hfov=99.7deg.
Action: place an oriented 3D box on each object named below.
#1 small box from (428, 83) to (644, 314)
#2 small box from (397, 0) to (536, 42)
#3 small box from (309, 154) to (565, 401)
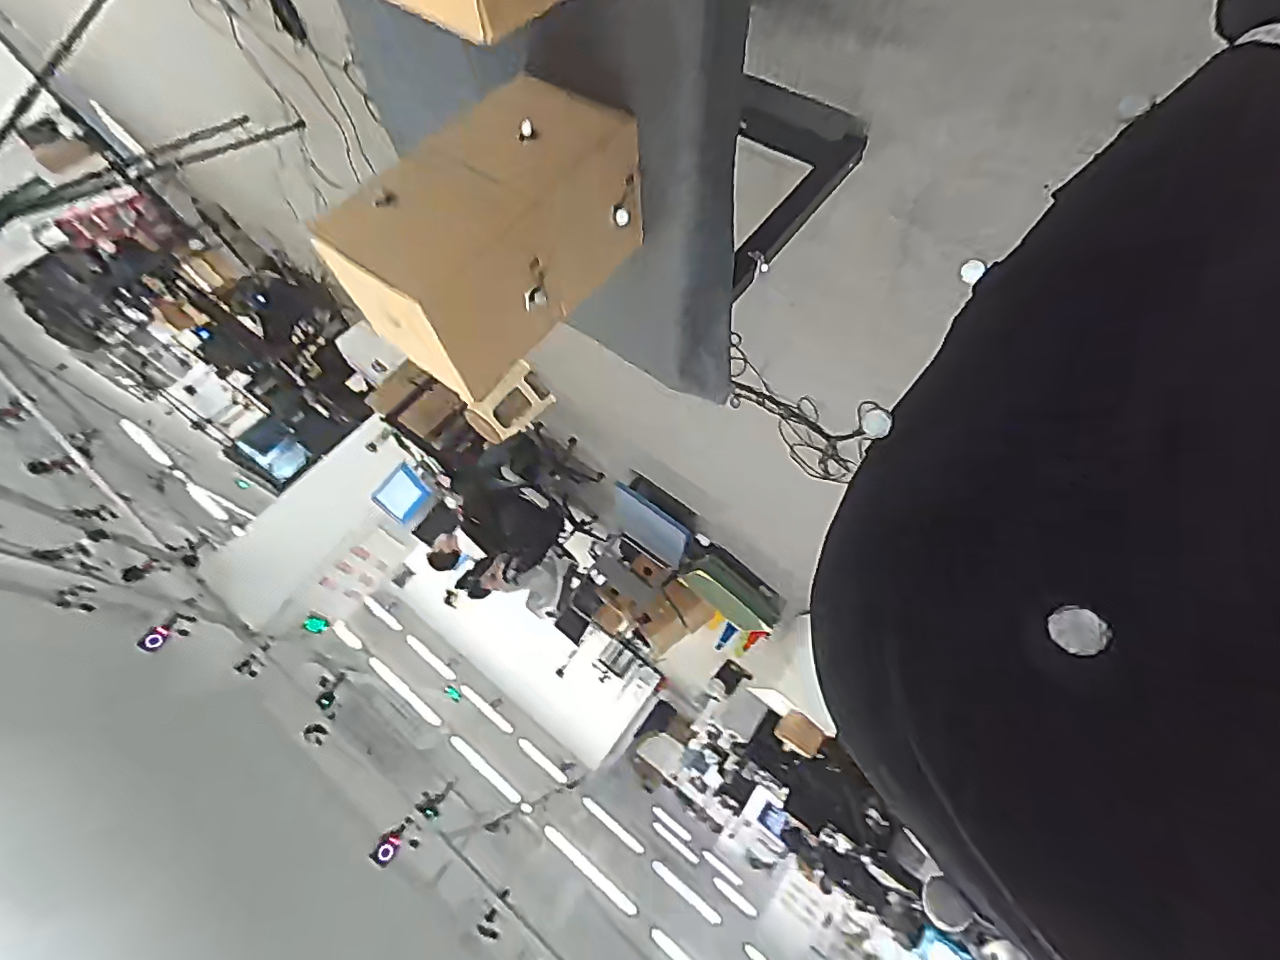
[{"bbox_3d":[-0.114,-0.347,0.666,0.179,0.176,0.168,33,159,18],"label":"small box"},{"bbox_3d":[-0.136,-0.487,0.408,0.179,0.176,0.168,34,160,15],"label":"small box"},{"bbox_3d":[-0.212,-0.230,0.612,0.179,0.176,0.168,32,160,18],"label":"small box"}]
